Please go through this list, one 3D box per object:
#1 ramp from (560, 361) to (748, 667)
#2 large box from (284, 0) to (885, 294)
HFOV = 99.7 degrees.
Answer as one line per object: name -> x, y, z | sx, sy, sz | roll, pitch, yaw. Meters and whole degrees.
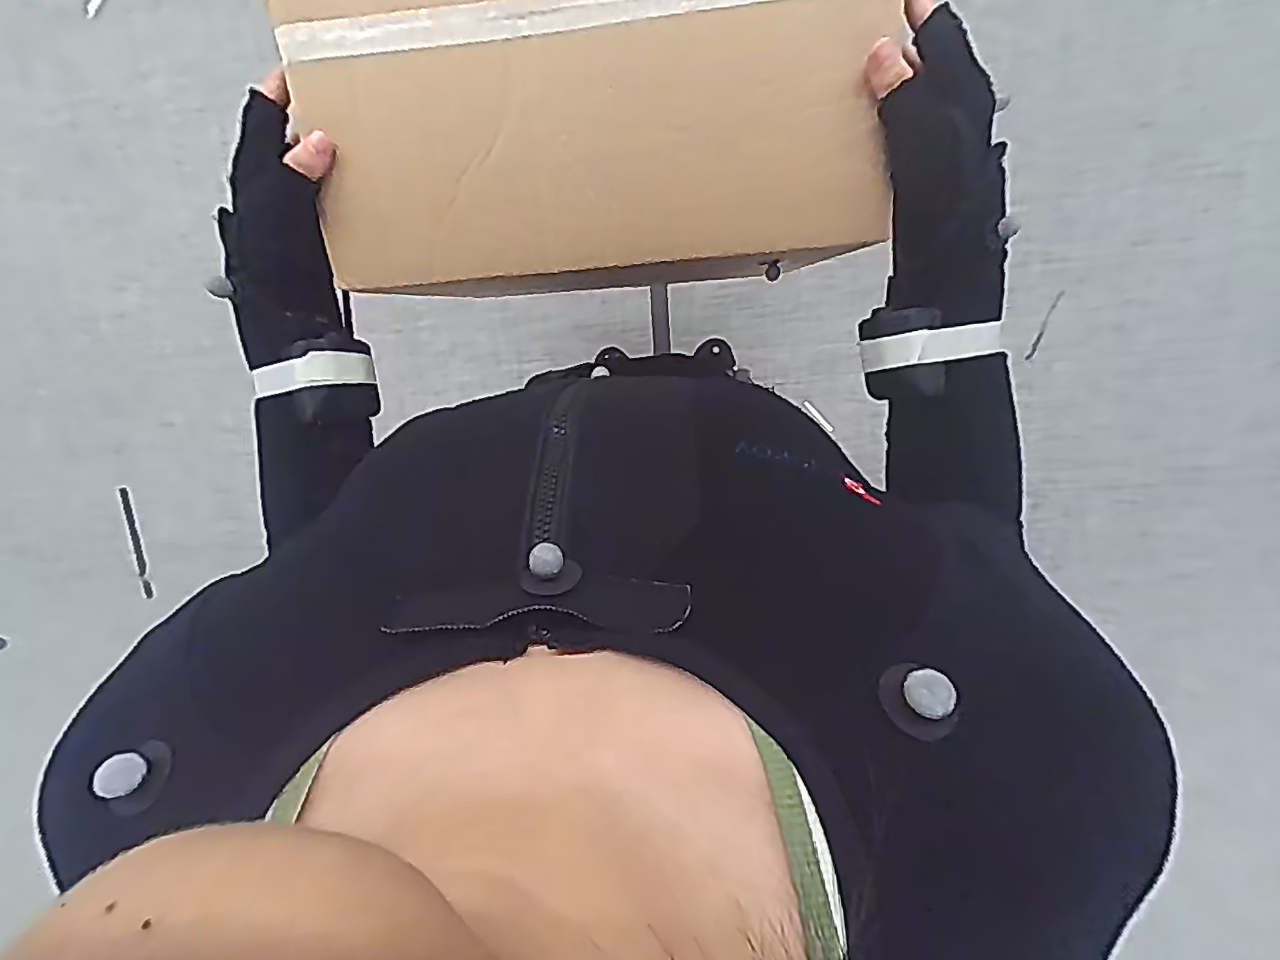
ramp -> 0.074, 0.160, 1.622 | 0.509, 0.206, 0.991 | -6, 103, 4
large box -> -0.032, -0.351, 0.499 | 0.408, 0.320, 0.320 | -4, 107, 3
